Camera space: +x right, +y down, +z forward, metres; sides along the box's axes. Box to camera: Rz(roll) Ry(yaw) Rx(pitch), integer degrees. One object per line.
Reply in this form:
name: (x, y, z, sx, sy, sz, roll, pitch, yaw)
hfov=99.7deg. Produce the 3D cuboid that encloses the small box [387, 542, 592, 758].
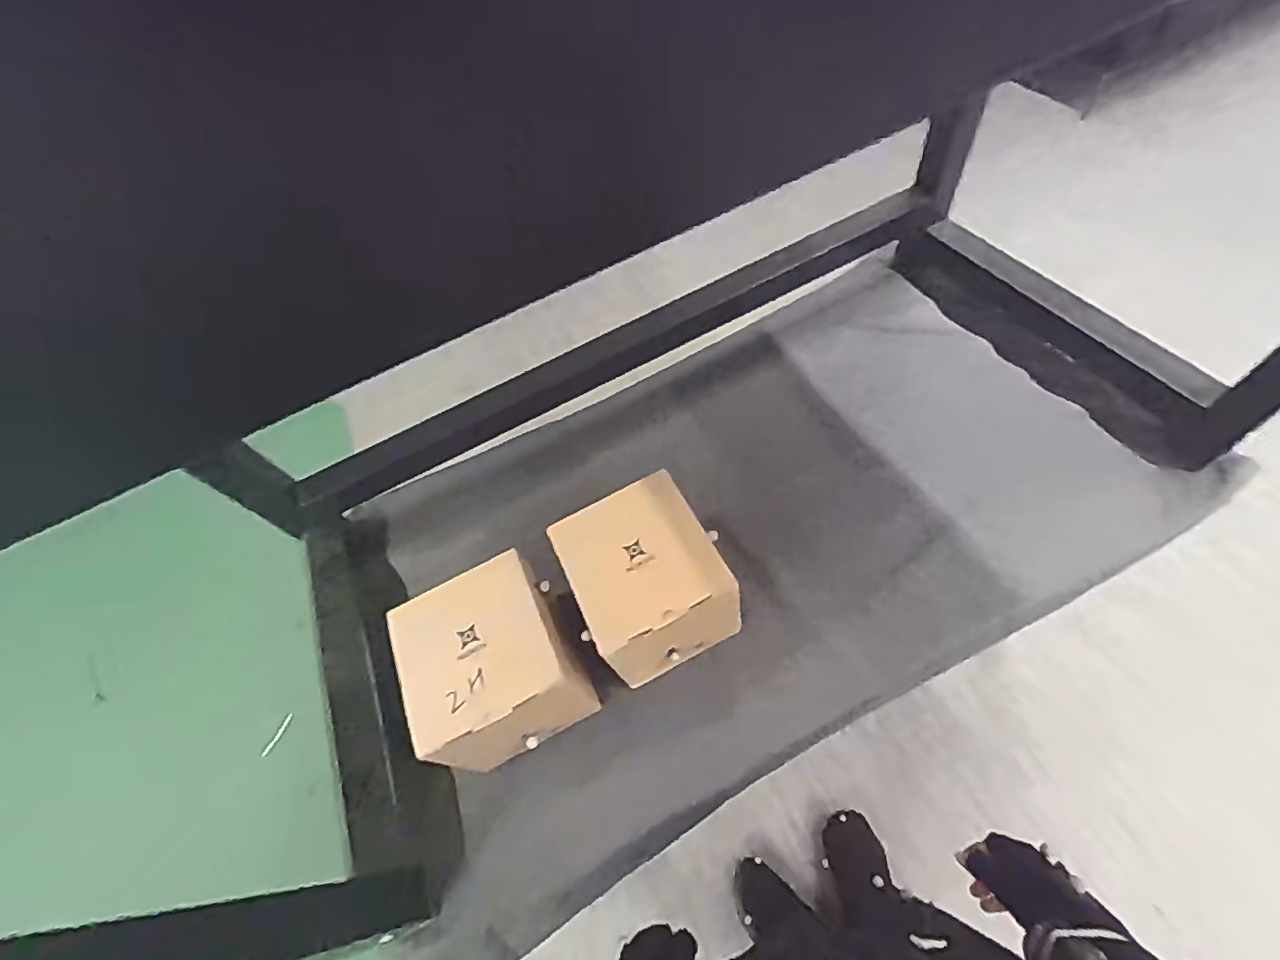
small box: (-0.177, 0.212, 0.661, 0.168, 0.176, 0.179, -27, 57, -6)
